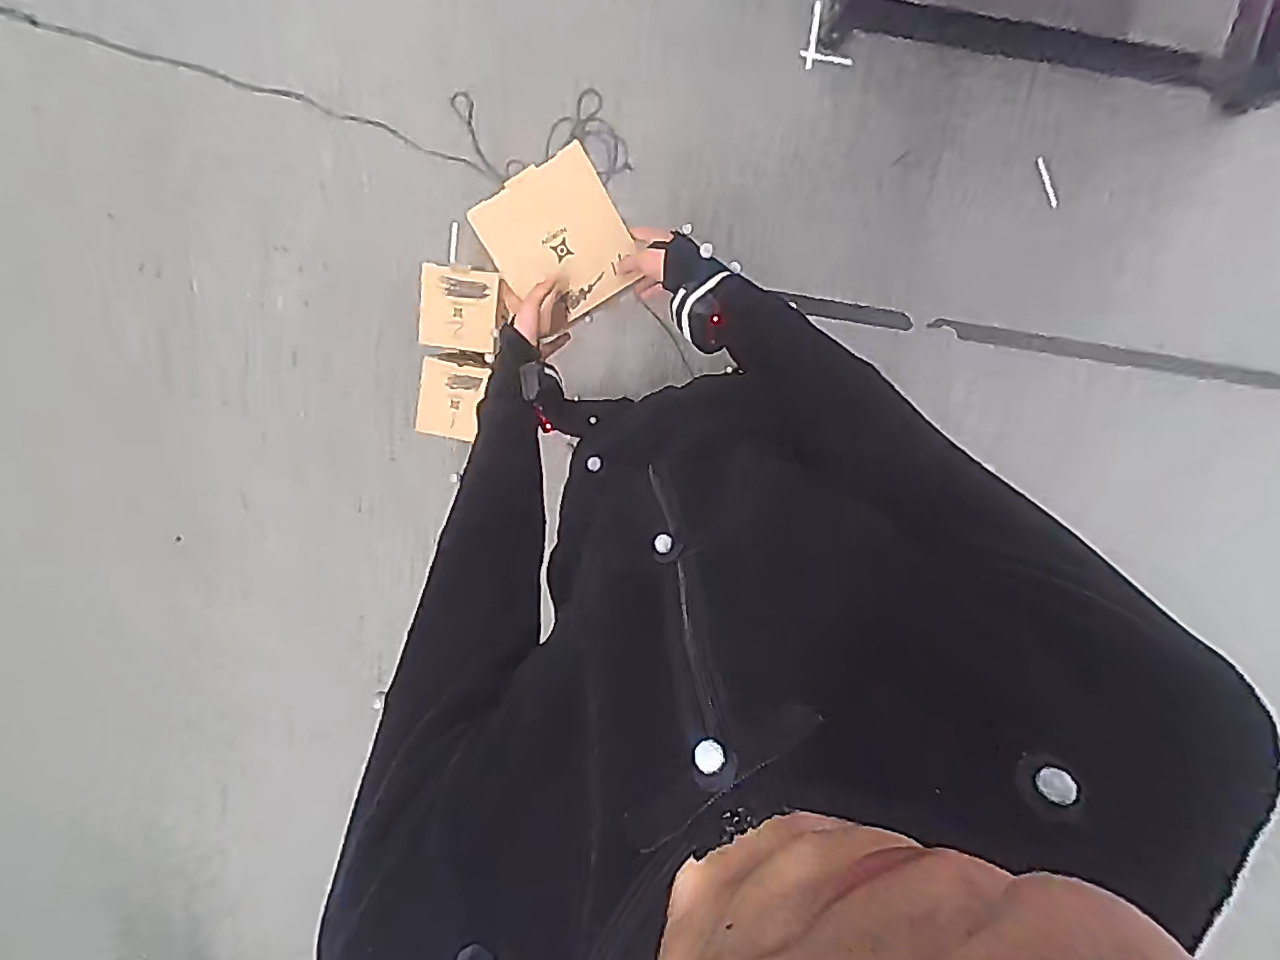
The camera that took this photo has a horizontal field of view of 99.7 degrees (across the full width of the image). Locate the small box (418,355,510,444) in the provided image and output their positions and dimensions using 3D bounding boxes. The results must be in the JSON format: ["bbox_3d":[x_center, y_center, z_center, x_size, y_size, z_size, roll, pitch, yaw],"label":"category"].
[{"bbox_3d":[-0.419,-0.202,1.312,0.168,0.176,0.179,11,106,-4],"label":"small box"}]

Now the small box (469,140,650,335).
[{"bbox_3d":[-0.101,-0.316,0.745,0.168,0.176,0.179,-29,105,7],"label":"small box"}]
